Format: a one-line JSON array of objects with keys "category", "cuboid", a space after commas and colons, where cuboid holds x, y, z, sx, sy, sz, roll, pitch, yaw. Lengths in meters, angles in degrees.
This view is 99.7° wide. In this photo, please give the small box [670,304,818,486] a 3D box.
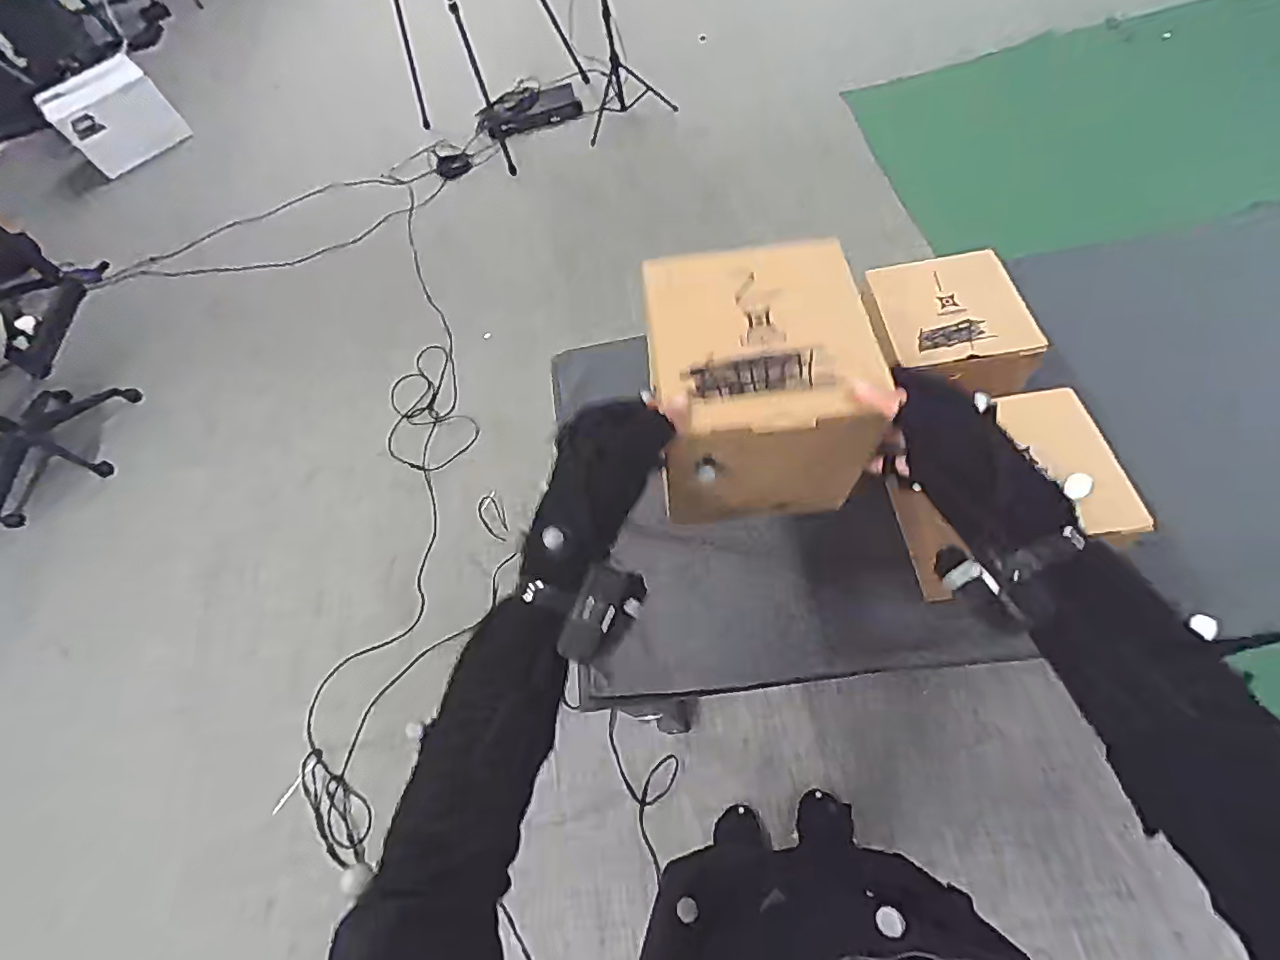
[{"category": "small box", "cuboid": [0.138, -0.113, 0.762, 0.168, 0.176, 0.179, -9, 61, 6]}]
